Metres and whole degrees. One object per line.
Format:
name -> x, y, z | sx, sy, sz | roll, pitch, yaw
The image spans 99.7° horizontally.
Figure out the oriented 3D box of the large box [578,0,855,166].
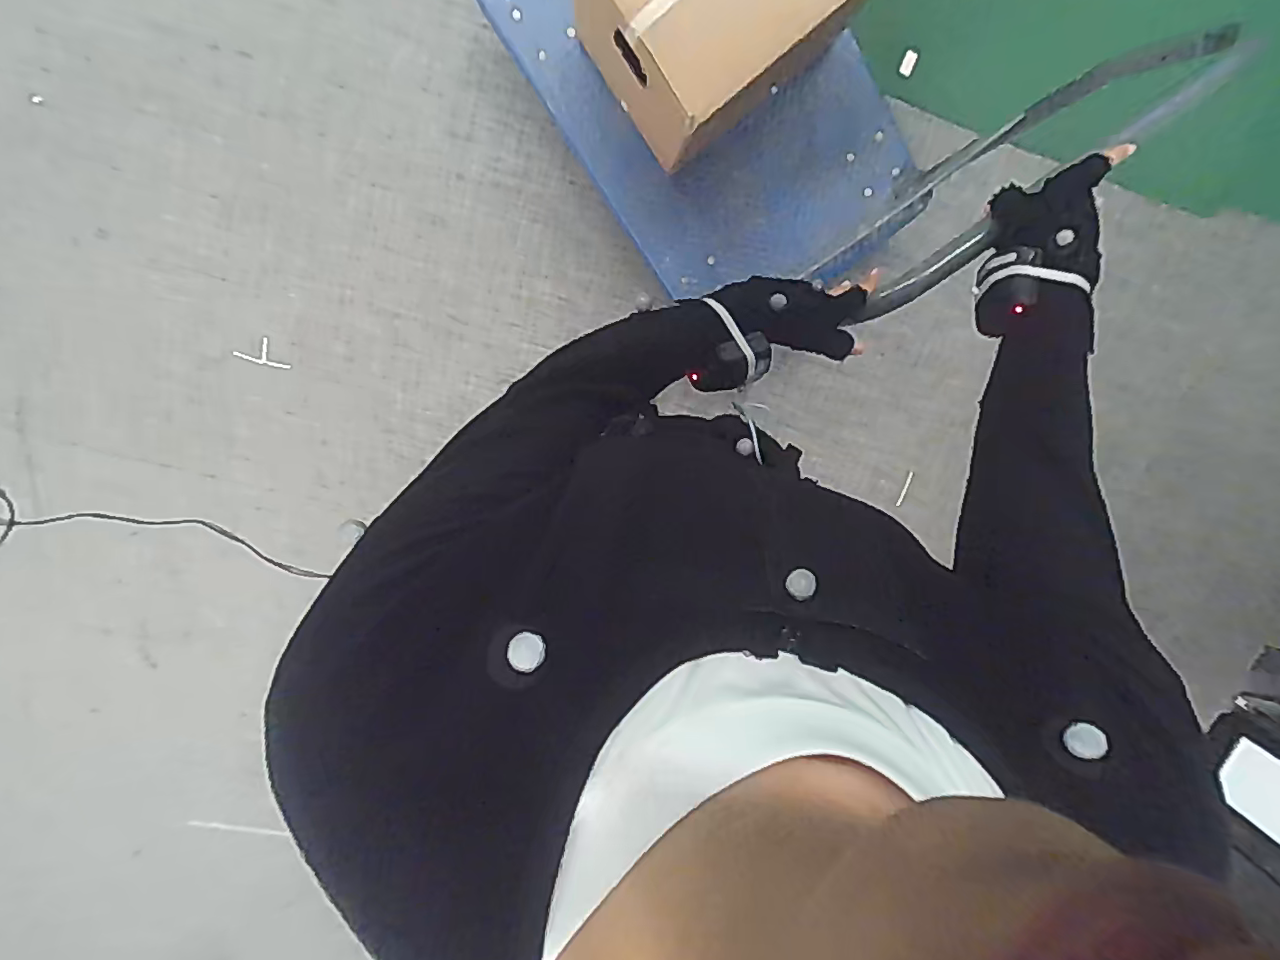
large box -> 0.139, -0.831, 0.913 | 0.408, 0.320, 0.320 | -37, 105, 8
